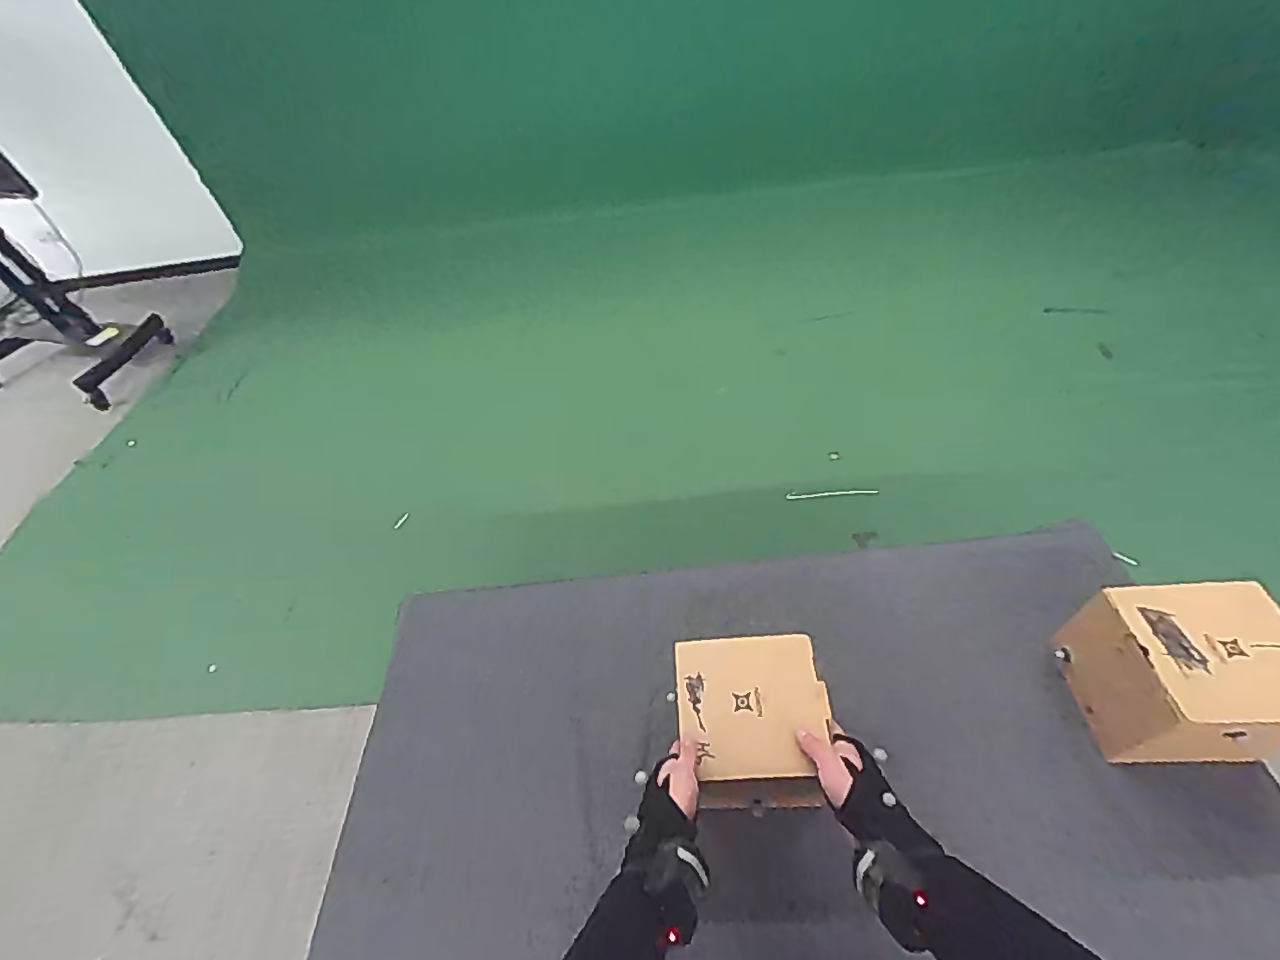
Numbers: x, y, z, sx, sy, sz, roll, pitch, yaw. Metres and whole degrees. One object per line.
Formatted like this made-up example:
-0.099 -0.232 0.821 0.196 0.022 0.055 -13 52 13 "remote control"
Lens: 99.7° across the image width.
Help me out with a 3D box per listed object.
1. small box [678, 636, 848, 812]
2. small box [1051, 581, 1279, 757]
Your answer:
0.140 0.314 0.691 0.179 0.176 0.168 -4 48 2 "small box"
0.675 0.245 0.692 0.179 0.176 0.168 -3 49 3 "small box"
